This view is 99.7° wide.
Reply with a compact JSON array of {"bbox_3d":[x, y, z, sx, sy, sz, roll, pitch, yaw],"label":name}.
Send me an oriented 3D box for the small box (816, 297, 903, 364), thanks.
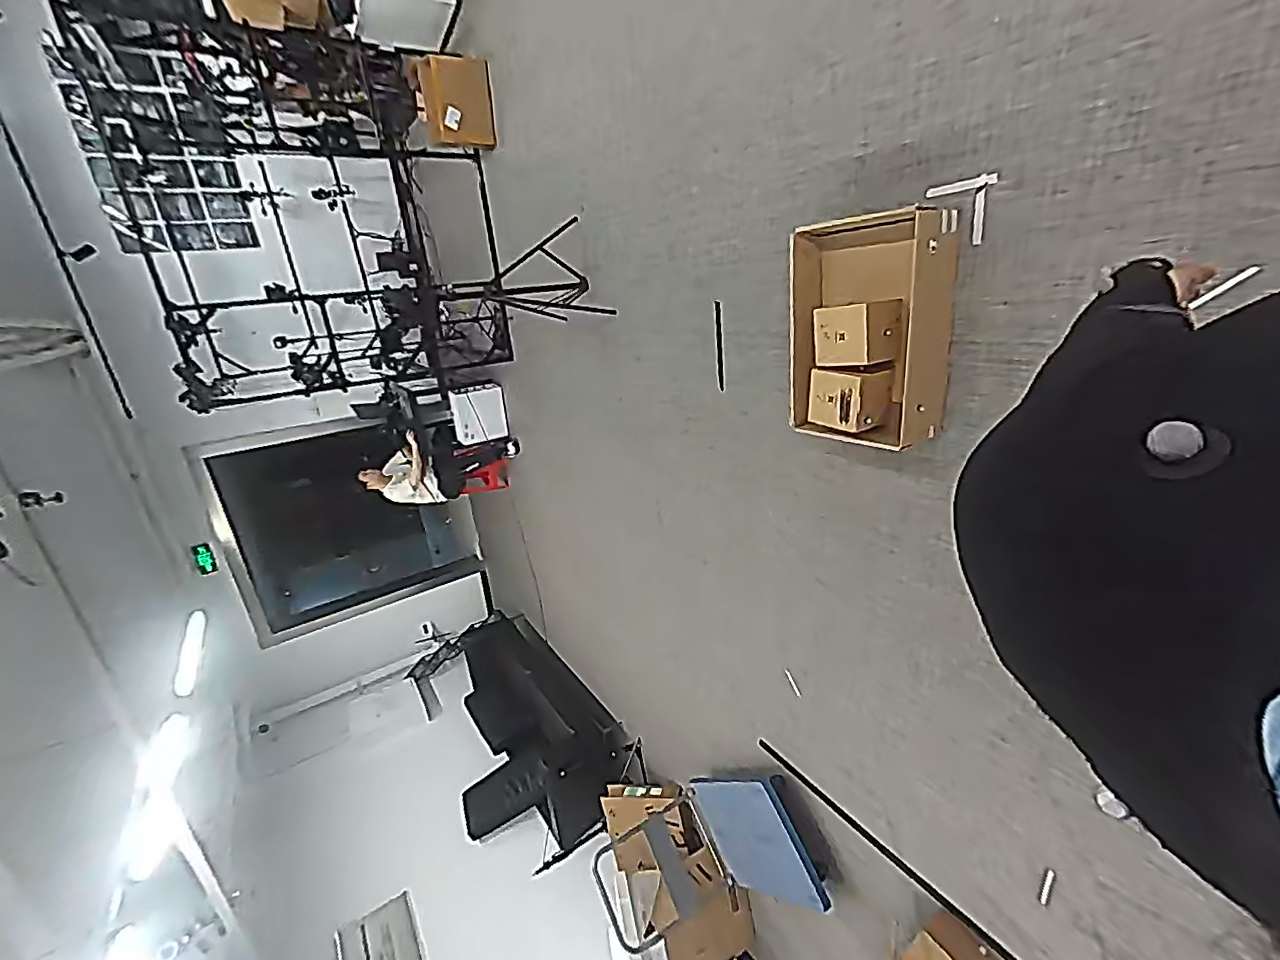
[{"bbox_3d":[0.634,-0.429,1.556,0.179,0.176,0.168,17,119,55],"label":"small box"}]
